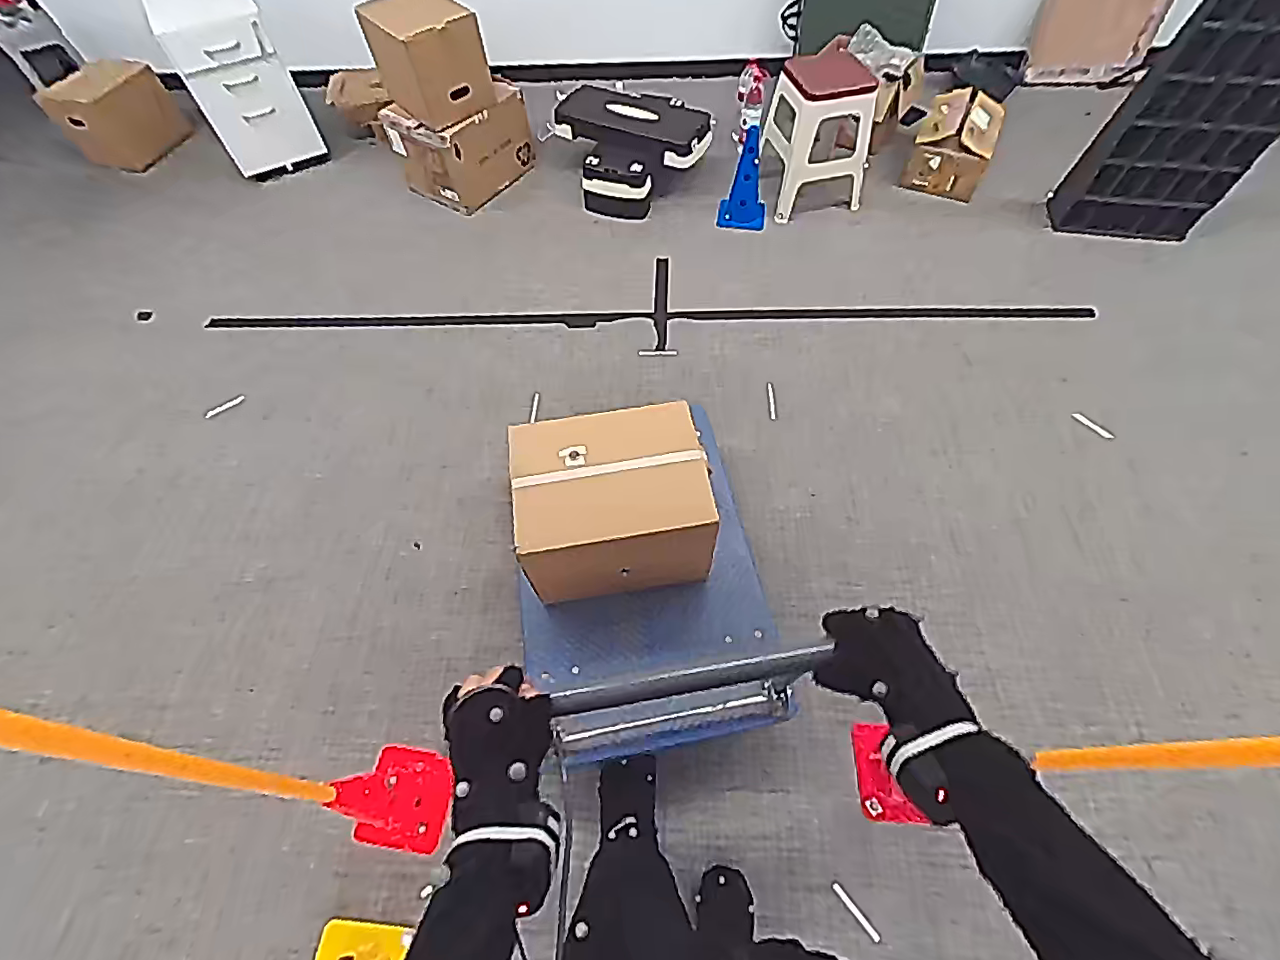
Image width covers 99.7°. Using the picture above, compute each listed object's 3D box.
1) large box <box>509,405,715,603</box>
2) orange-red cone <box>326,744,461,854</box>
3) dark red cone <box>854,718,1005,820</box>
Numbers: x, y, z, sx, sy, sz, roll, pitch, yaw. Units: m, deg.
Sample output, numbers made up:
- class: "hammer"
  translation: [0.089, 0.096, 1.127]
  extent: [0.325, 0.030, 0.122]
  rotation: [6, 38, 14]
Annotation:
- class: "large box"
  translation: [-0.063, 0.066, 1.257]
  extent: [0.408, 0.320, 0.320]
  rotation: [-9, 59, -3]
- class: "orange-red cone"
  translation: [-0.534, 0.637, 1.099]
  extent: [0.198, 0.360, 0.199]
  rotation: [8, 58, 5]
- class: "dark red cone"
  translation: [0.598, 0.565, 1.082]
  extent: [0.201, 0.394, 0.202]
  rotation: [2, 59, 1]
